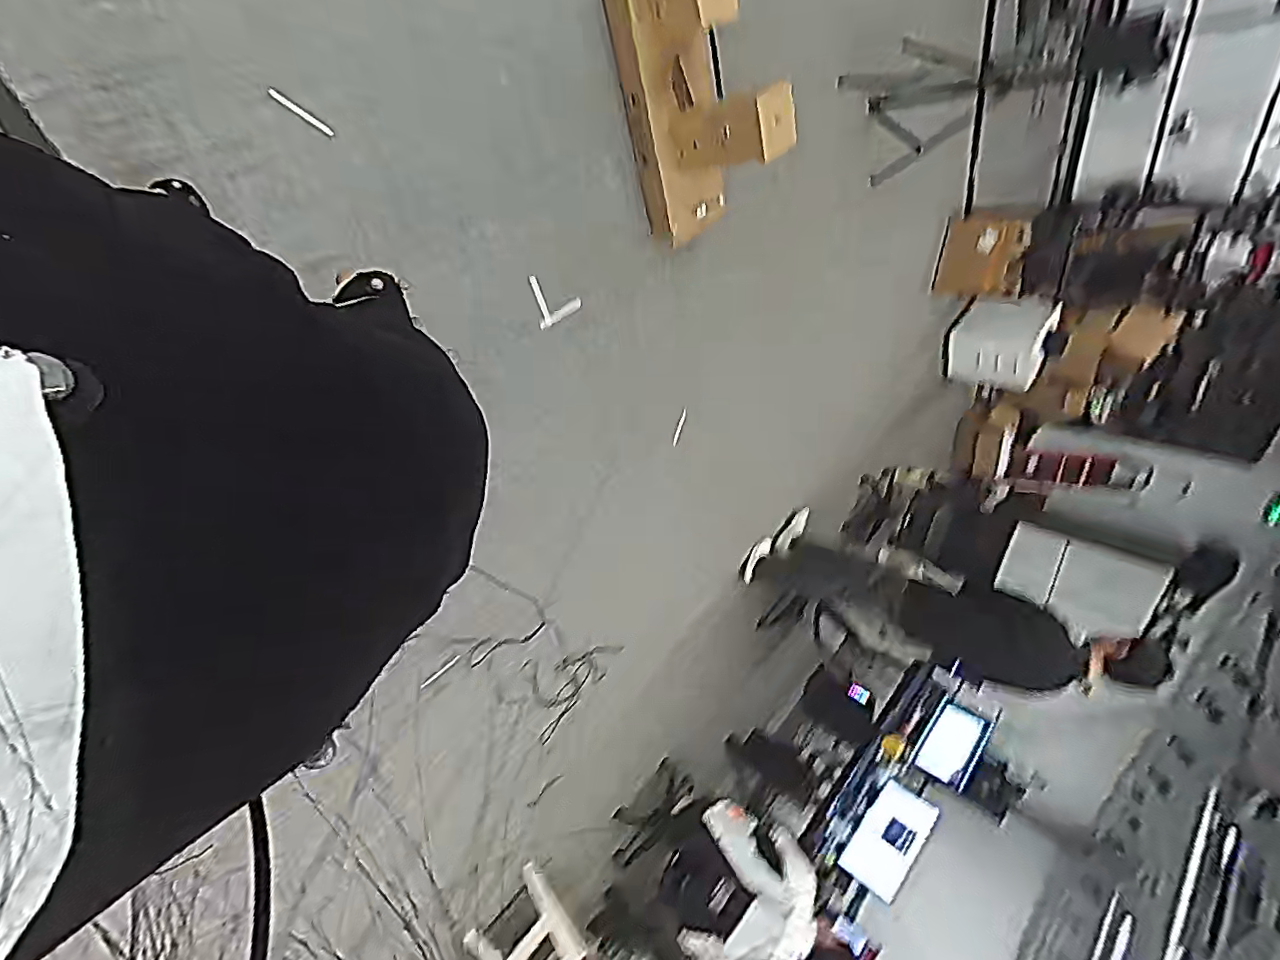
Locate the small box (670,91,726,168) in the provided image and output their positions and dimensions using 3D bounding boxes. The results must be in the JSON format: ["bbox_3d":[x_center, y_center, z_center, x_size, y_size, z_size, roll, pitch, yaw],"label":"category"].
[{"bbox_3d":[0.212,-1.116,1.725,0.179,0.176,0.168,-42,133,-25],"label":"small box"}]

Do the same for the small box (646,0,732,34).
[{"bbox_3d":[0.131,-1.380,1.511,0.179,0.176,0.168,-41,133,-27],"label":"small box"}]

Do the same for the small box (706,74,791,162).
[{"bbox_3d":[0.324,-1.075,1.613,0.179,0.176,0.168,-44,133,-24],"label":"small box"}]
